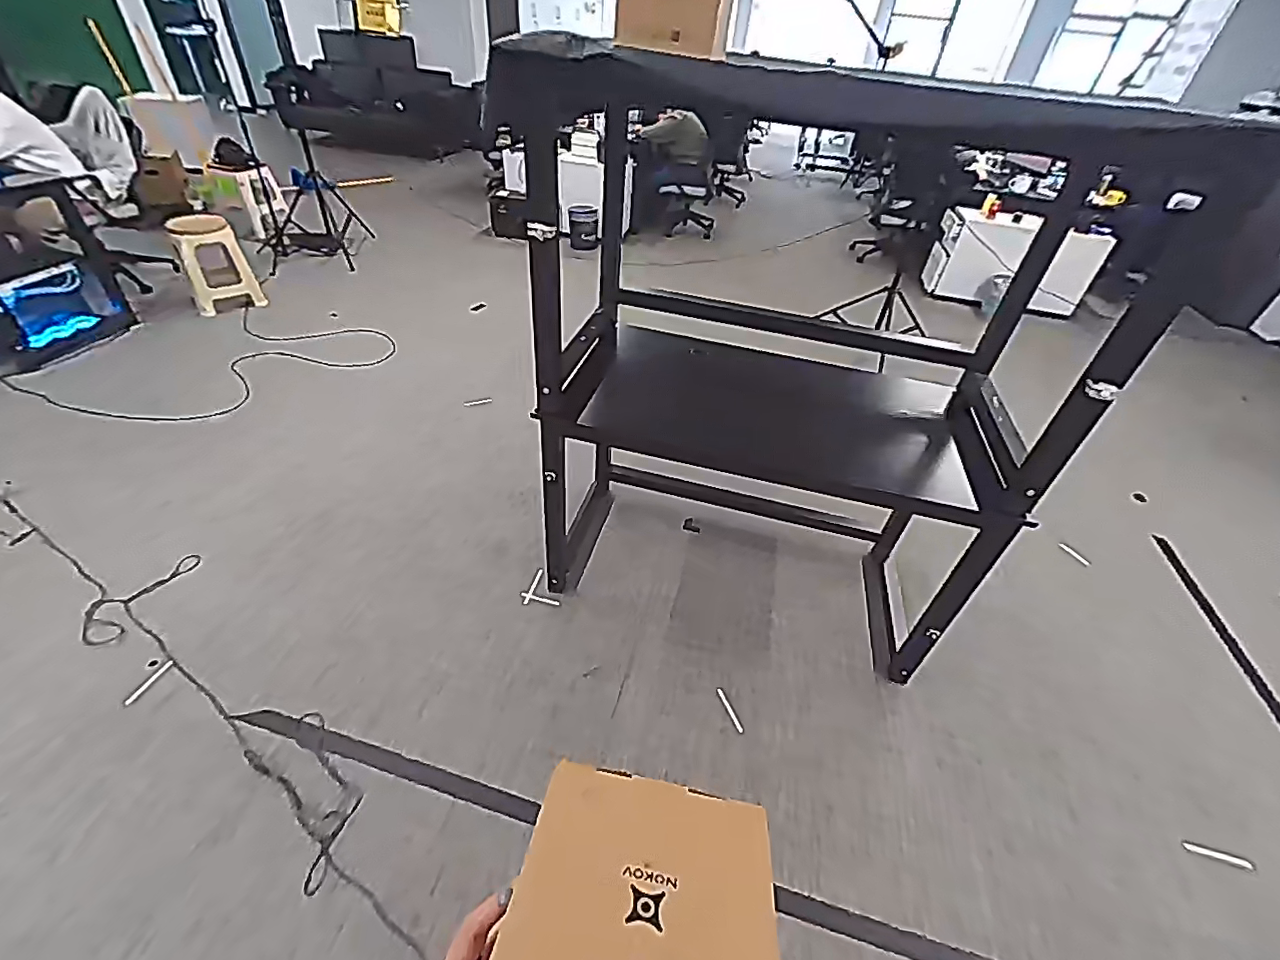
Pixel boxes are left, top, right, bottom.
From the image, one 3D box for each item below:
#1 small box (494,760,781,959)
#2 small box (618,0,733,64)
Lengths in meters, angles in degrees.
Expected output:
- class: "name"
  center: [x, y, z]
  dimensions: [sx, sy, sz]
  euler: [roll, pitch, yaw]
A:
- class: "small box"
  center: [-0.007, 0.337, 0.365]
  dimensions: [0.168, 0.176, 0.179]
  euler: [11, 21, 4]
- class: "small box"
  center: [0.064, -0.802, 0.894]
  dimensions: [0.168, 0.176, 0.179]
  euler: [14, 38, 7]
